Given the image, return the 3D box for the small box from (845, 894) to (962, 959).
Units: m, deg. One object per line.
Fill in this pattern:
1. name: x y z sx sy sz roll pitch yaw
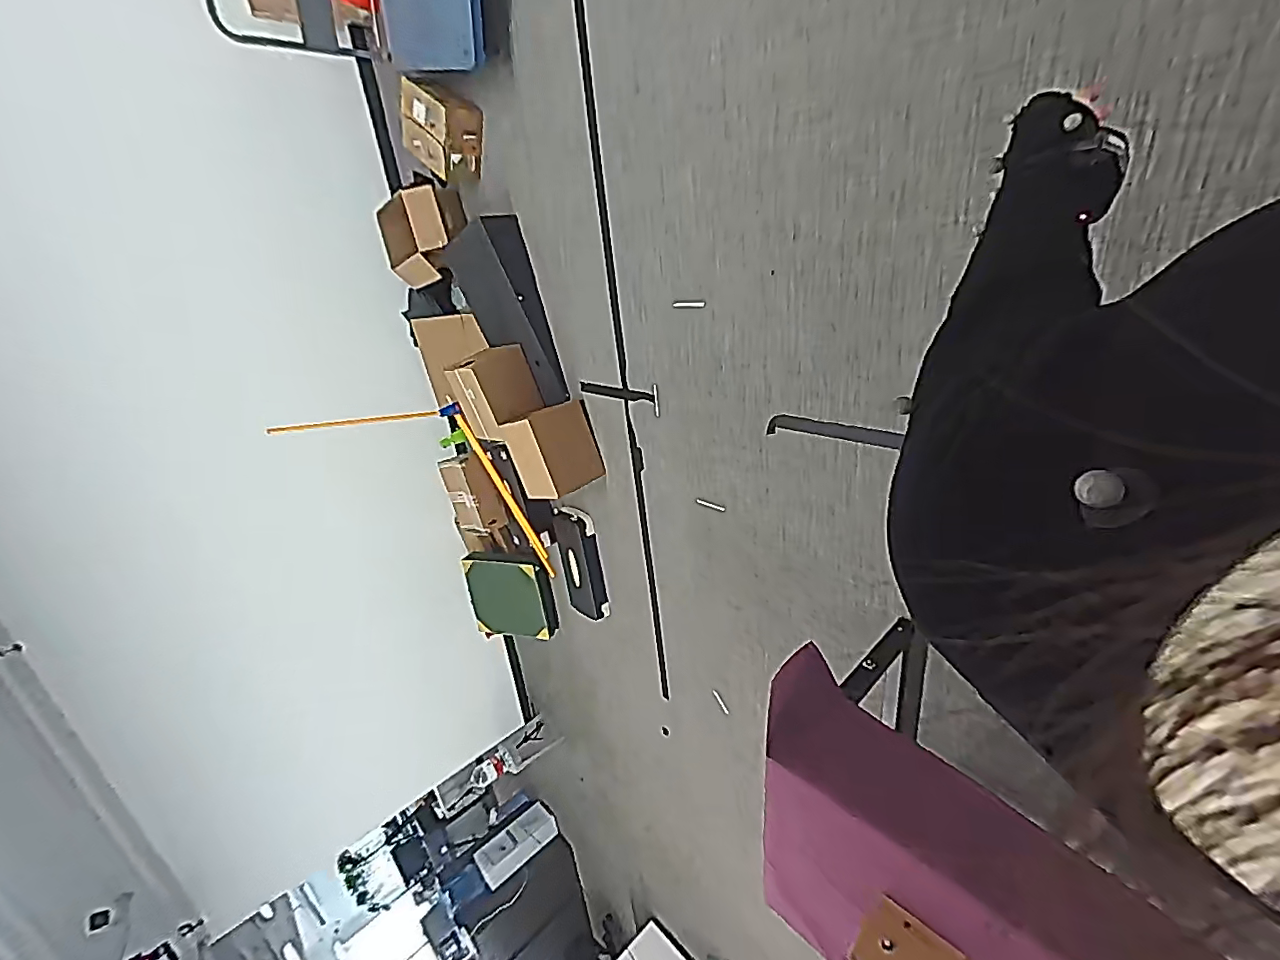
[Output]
1. small box: 0.534 1.011 1.104 0.168 0.176 0.179 19 124 45
